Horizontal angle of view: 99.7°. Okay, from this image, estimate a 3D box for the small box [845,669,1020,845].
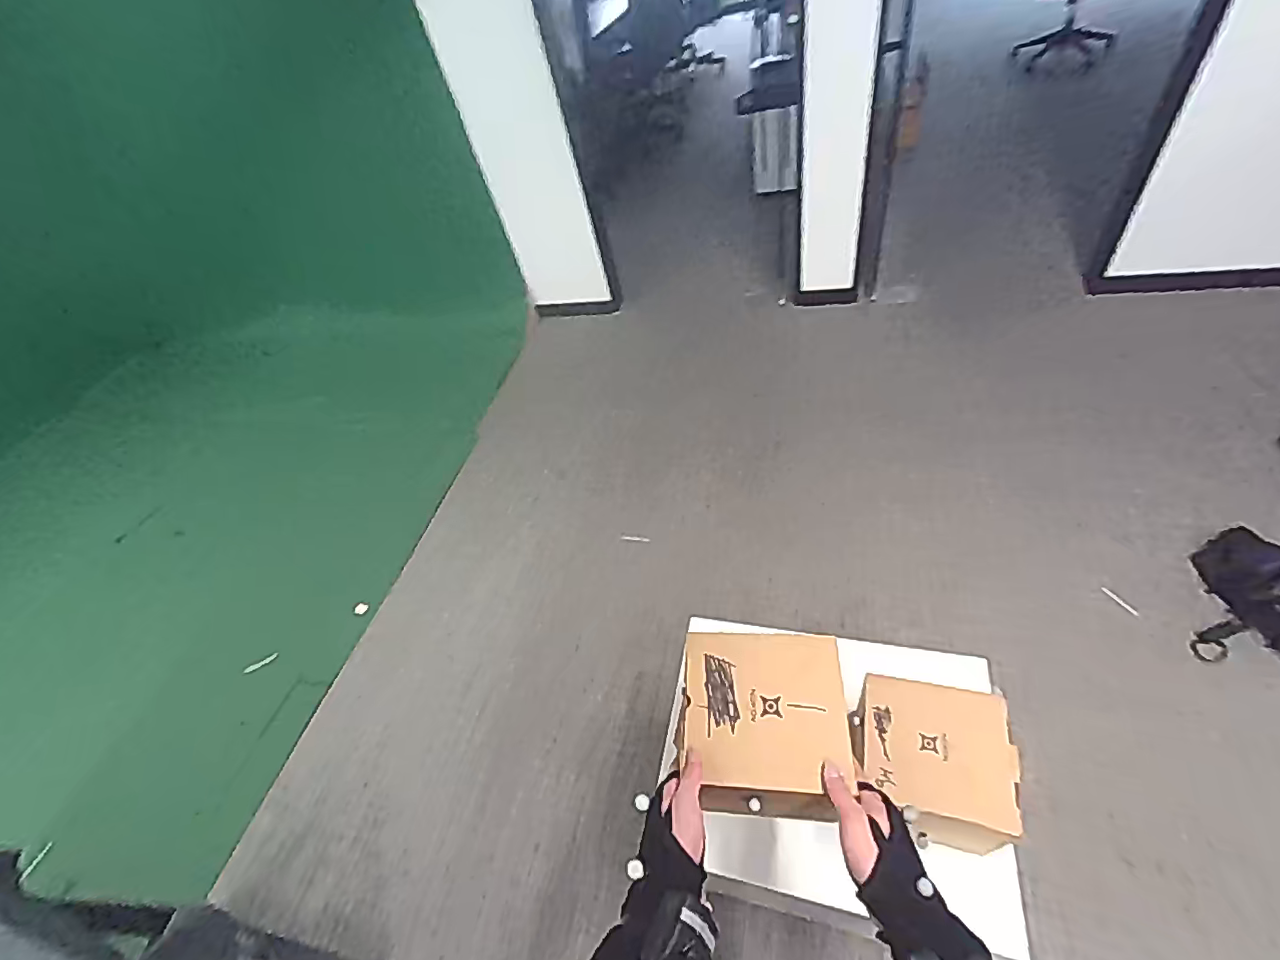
[{"bbox_3d":[0.396,0.392,0.759,0.179,0.176,0.168,7,52,18],"label":"small box"}]

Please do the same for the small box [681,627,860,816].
[{"bbox_3d":[0.145,0.289,0.643,0.179,0.176,0.168,0,51,9],"label":"small box"}]
